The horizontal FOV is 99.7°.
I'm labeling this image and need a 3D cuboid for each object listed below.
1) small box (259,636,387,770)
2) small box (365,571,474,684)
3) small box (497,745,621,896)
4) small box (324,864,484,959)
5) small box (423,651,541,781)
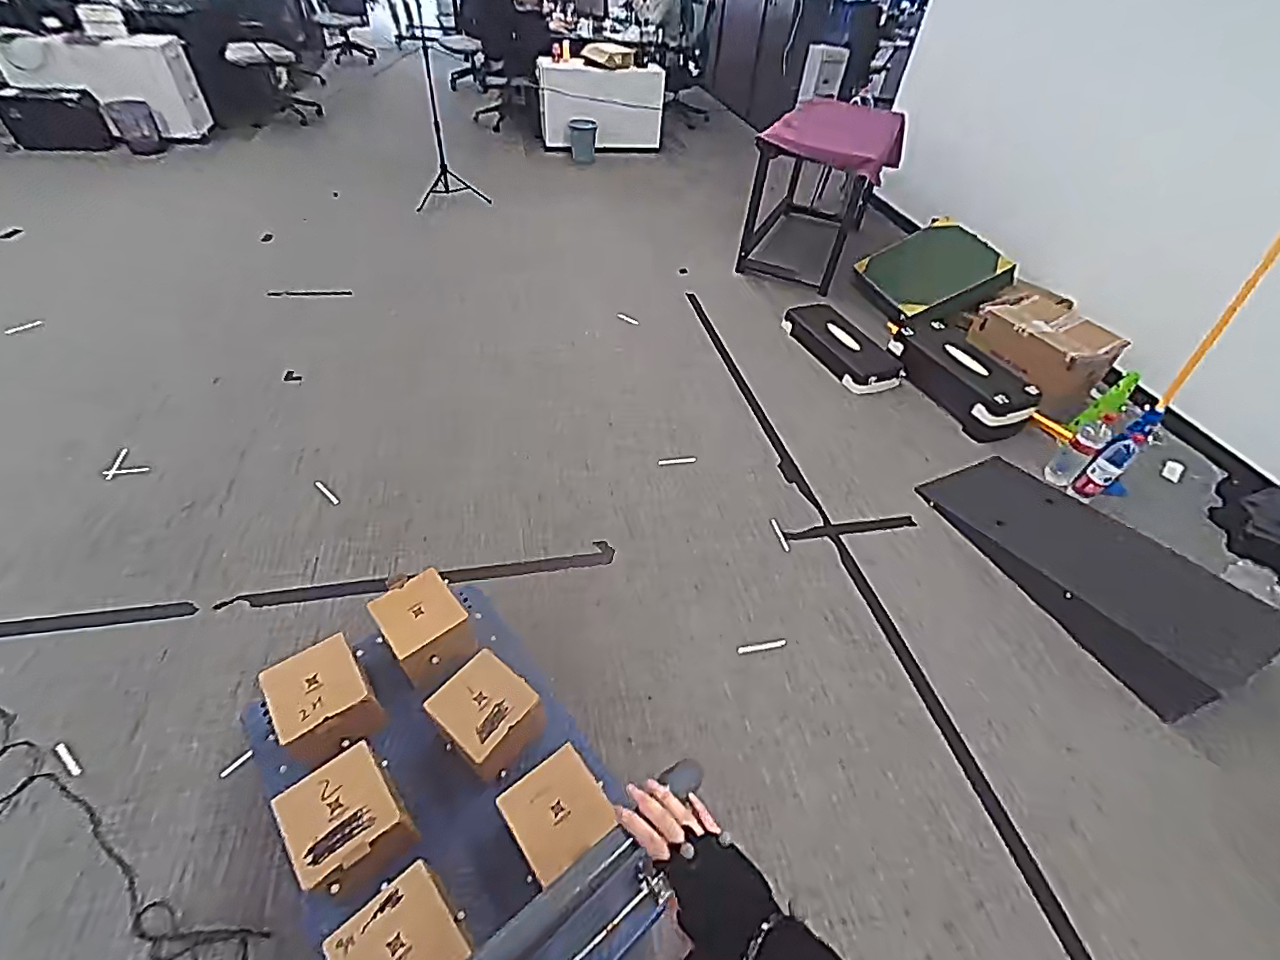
[{"bbox_3d":[-0.668,0.476,1.152,0.168,0.176,0.179,-27,56,-28],"label":"small box"},{"bbox_3d":[-0.515,0.358,1.285,0.168,0.176,0.179,-32,57,-31],"label":"small box"},{"bbox_3d":[-0.153,0.657,1.040,0.168,0.176,0.179,-27,54,-29],"label":"small box"},{"bbox_3d":[-0.377,0.786,0.891,0.168,0.176,0.179,-32,57,-32],"label":"small box"},{"bbox_3d":[-0.328,0.511,1.159,0.179,0.176,0.168,31,51,23],"label":"small box"}]
